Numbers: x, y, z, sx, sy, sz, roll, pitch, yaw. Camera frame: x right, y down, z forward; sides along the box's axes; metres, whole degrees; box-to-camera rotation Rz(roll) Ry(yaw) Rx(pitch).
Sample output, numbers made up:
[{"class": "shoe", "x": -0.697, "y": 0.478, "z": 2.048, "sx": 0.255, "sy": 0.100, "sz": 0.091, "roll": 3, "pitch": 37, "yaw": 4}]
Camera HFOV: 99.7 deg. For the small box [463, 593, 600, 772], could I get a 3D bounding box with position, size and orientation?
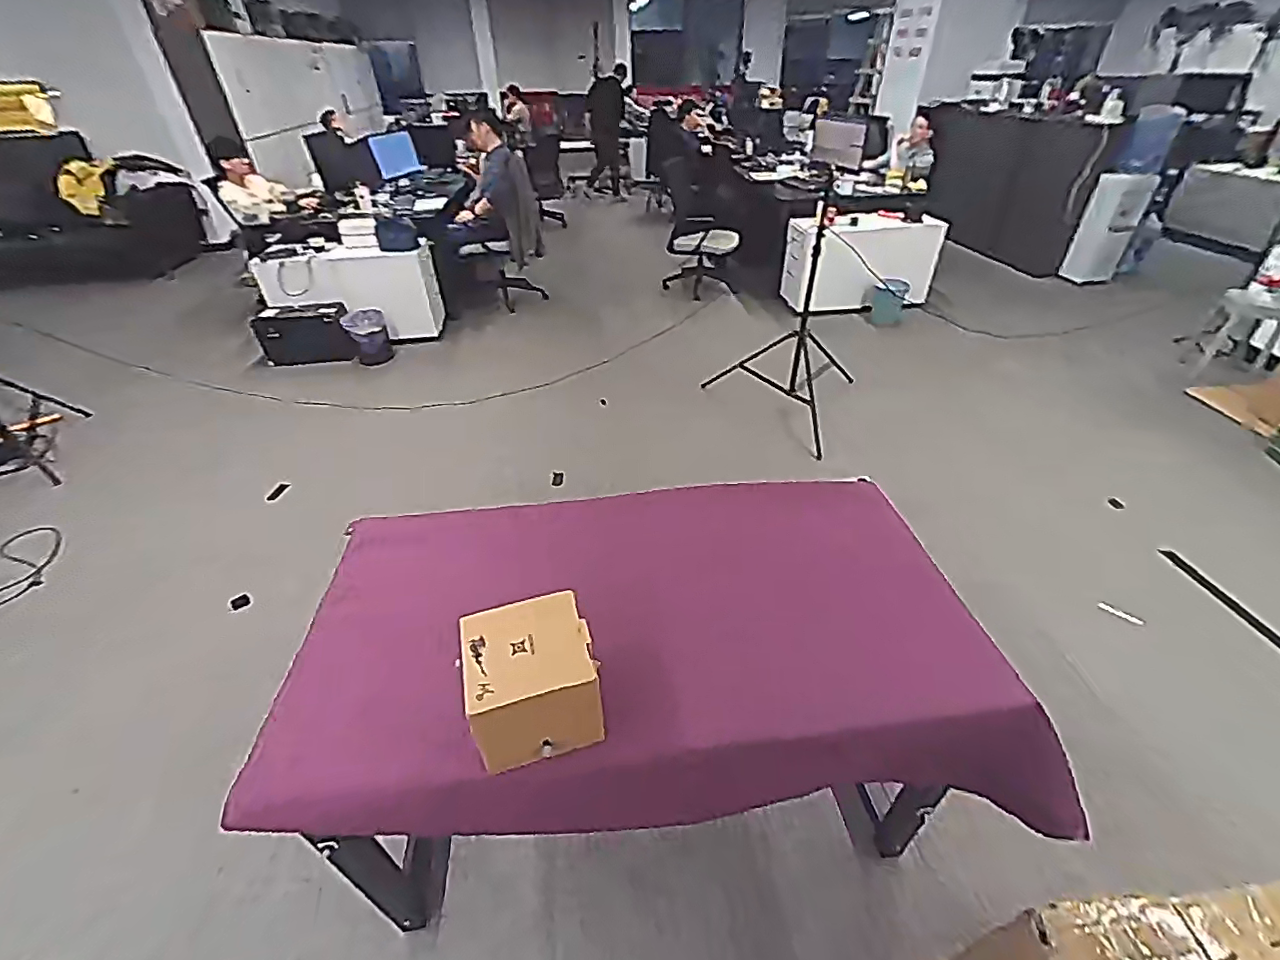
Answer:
[{"class": "small box", "x": -0.161, "y": 0.304, "z": 0.819, "sx": 0.179, "sy": 0.176, "sz": 0.168, "roll": -11, "pitch": 38, "yaw": -14}]
